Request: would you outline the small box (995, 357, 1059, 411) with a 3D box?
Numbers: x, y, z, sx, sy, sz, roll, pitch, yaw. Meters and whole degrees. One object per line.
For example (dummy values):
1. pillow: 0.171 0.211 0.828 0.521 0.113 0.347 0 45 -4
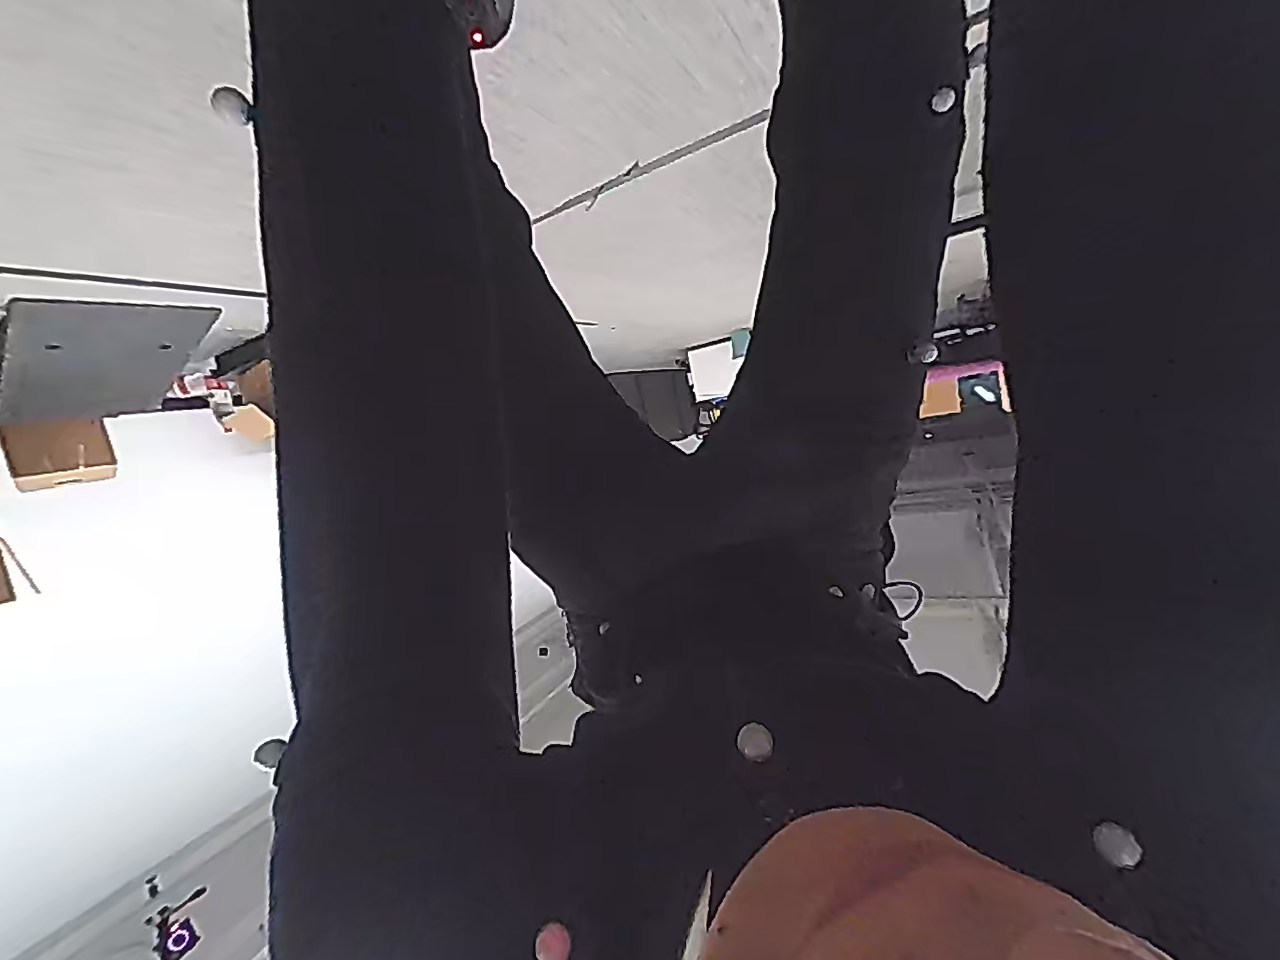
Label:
1. small box: 1.439 -0.360 2.016 0.168 0.176 0.179 -9 -175 30
